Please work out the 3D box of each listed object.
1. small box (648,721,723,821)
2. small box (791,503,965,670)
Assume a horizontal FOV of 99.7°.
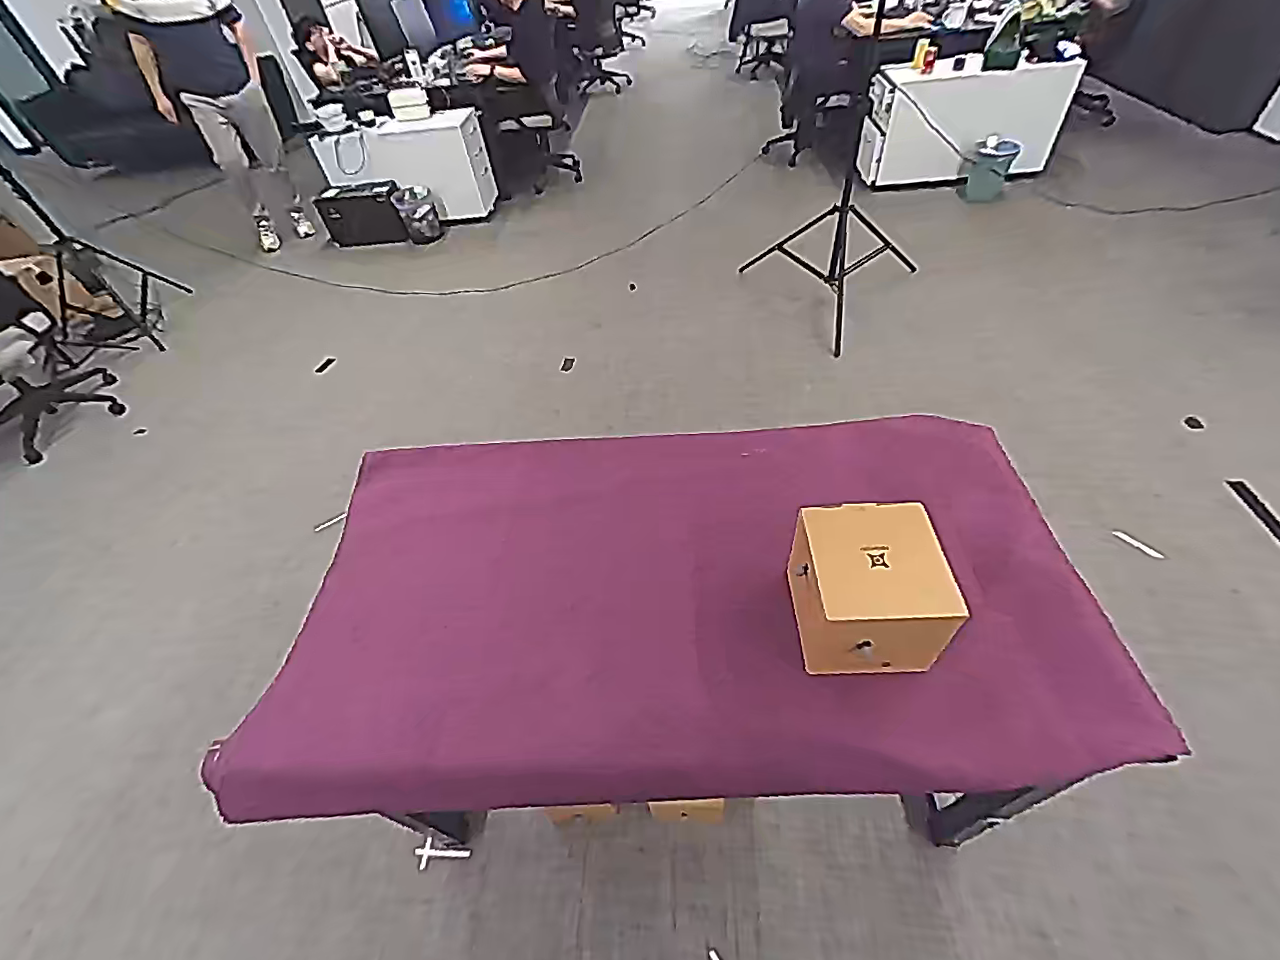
[{"bbox_3d":[0.113,0.692,1.280,0.168,0.176,0.179,-1,47,6],"label":"small box"},{"bbox_3d":[0.313,0.154,0.755,0.168,0.176,0.179,-3,47,5],"label":"small box"}]
